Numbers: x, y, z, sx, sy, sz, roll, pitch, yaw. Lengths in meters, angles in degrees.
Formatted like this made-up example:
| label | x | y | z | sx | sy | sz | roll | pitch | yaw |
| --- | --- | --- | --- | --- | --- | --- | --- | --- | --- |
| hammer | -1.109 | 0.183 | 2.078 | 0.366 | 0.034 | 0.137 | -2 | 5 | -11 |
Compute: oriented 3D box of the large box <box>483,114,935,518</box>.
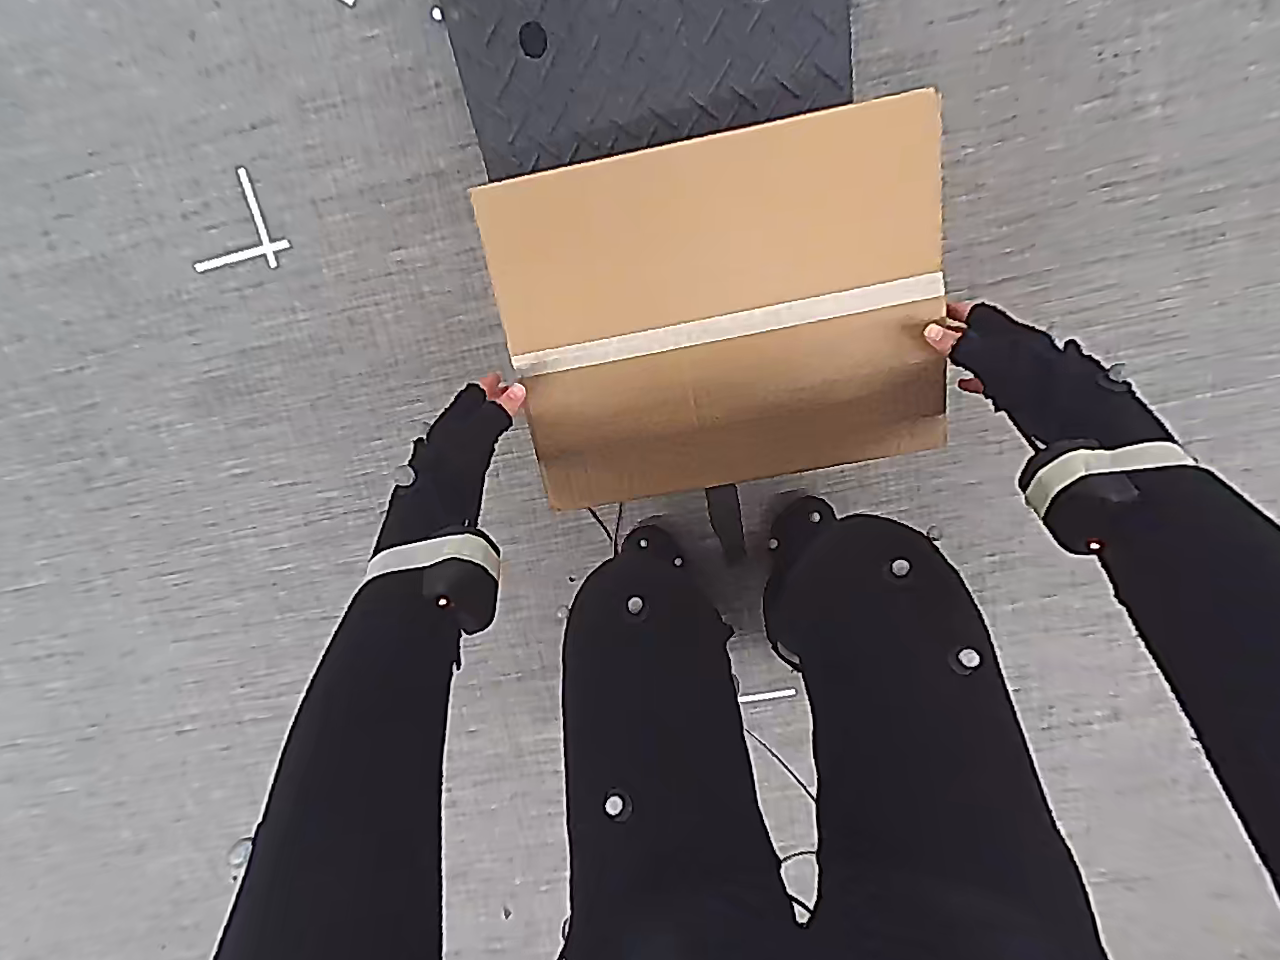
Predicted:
| label | x | y | z | sx | sy | sz | roll | pitch | yaw |
| --- | --- | --- | --- | --- | --- | --- | --- | --- | --- |
| large box | 0.081 | -0.182 | 0.659 | 0.408 | 0.320 | 0.320 | -9 | 106 | 4 |
